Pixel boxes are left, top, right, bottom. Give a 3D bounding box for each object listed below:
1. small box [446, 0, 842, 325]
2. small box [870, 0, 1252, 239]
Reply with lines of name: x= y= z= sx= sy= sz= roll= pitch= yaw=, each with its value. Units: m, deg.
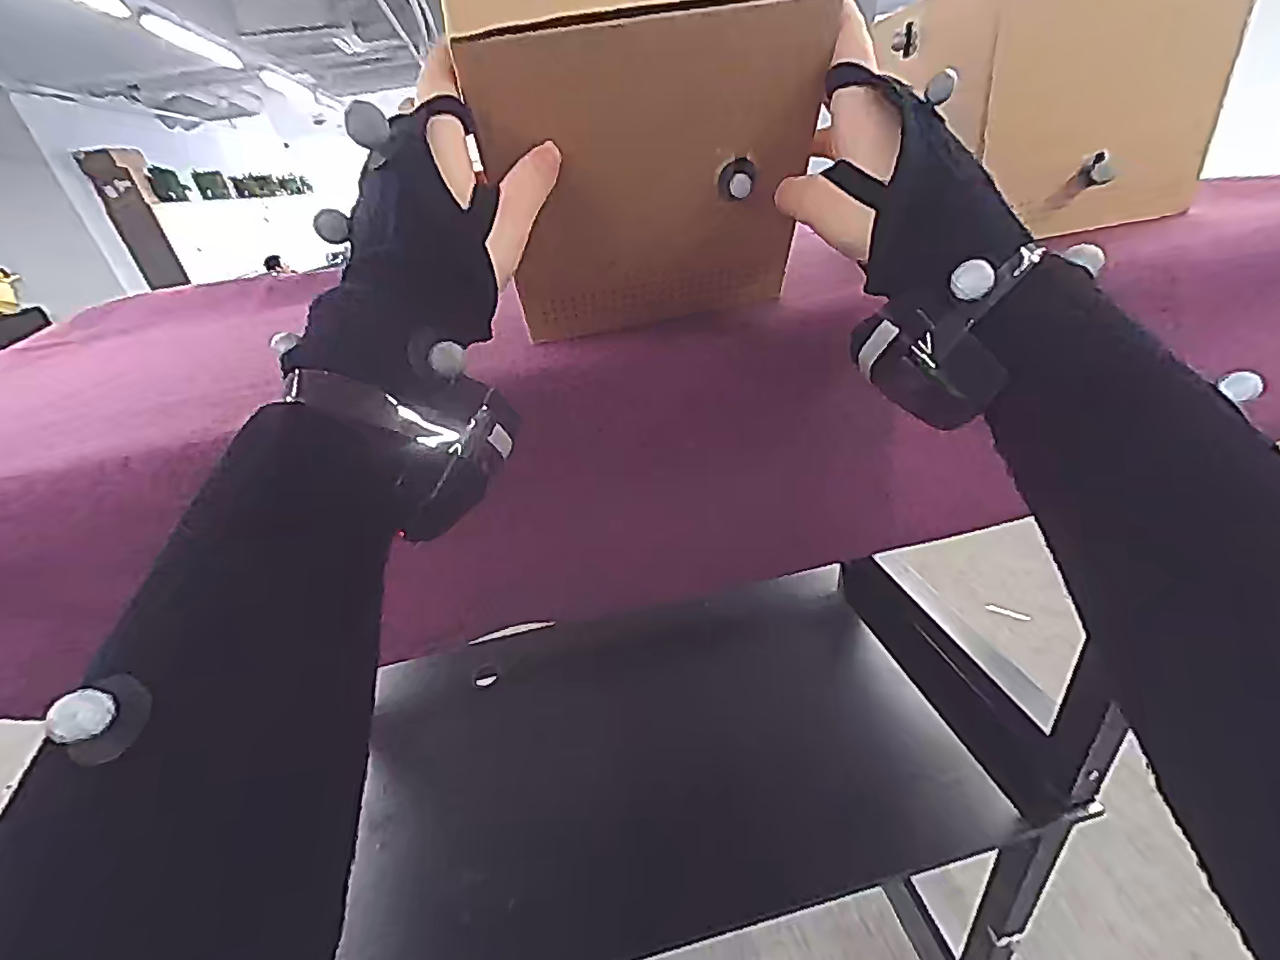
small box: x=-0.008 y=-0.224 z=0.335 sx=0.179 sy=0.176 sz=0.168 roll=-13 pitch=56 yaw=-5
small box: x=0.302 y=-0.299 z=0.423 sx=0.179 sy=0.176 sz=0.168 roll=-10 pitch=29 yaw=-1
